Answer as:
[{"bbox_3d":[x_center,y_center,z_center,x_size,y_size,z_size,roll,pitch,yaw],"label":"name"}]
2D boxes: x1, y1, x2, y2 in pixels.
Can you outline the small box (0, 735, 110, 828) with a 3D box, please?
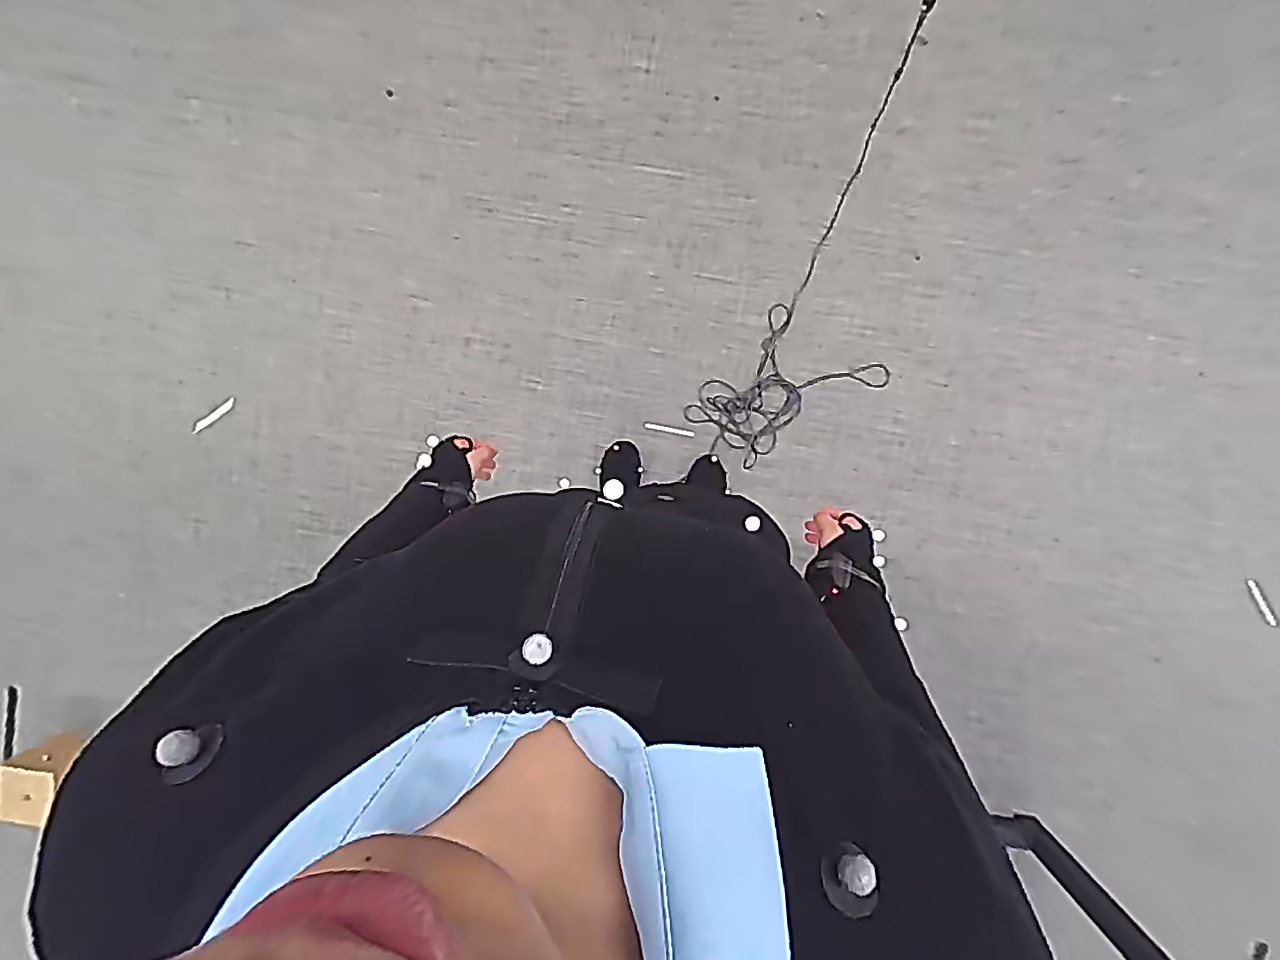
[{"bbox_3d":[-1.718,0.876,1.587,0.179,0.176,0.168,7,94,4],"label":"small box"}]
